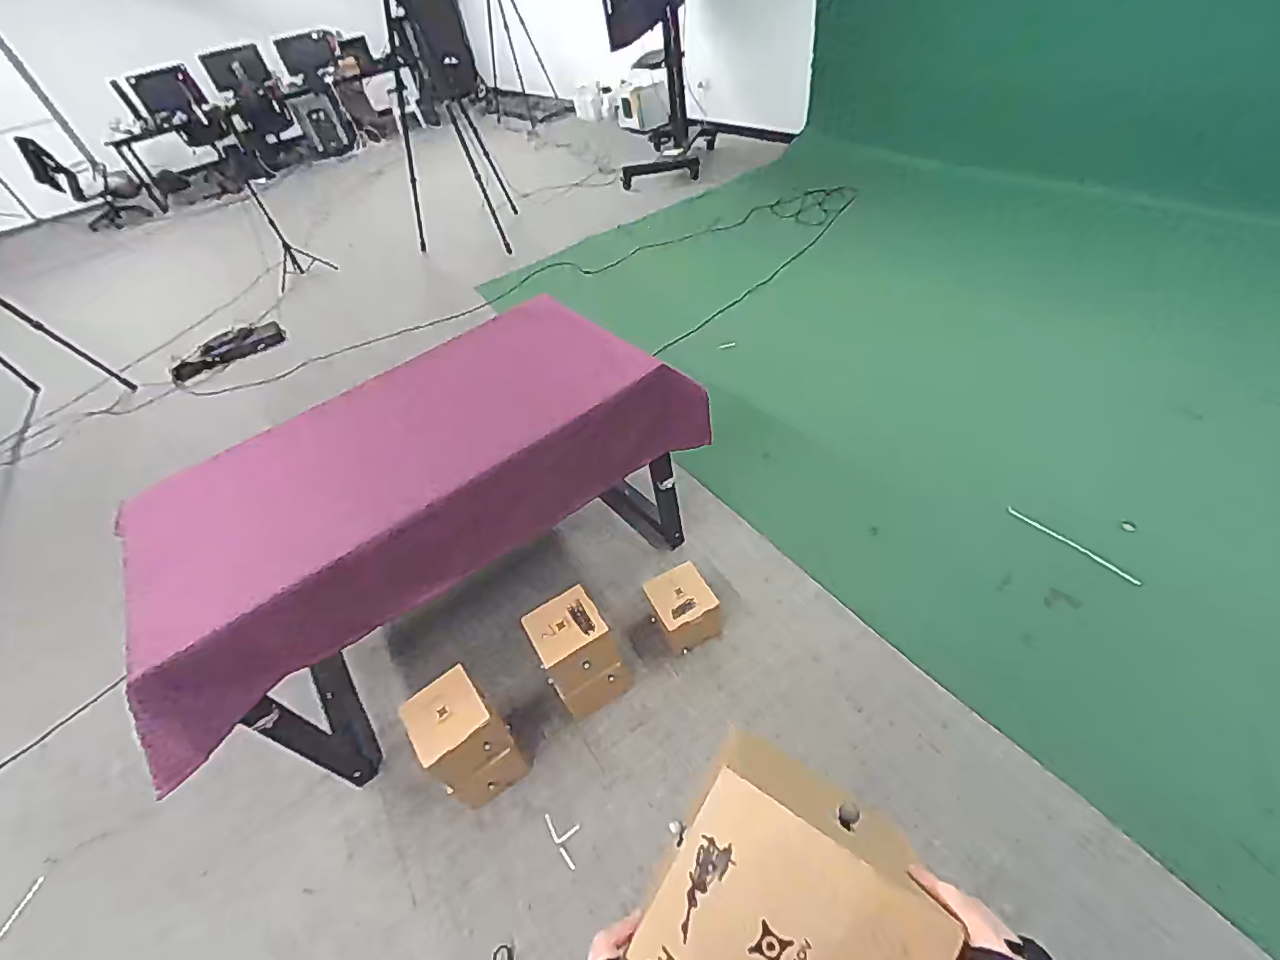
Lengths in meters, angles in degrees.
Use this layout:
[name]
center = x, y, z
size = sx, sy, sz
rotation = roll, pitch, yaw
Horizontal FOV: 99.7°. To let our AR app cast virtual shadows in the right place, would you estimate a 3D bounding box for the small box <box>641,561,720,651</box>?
[small box]
center = 0.123, 0.379, 1.594
size = 0.168, 0.176, 0.179
rotation = -25, 46, -12
